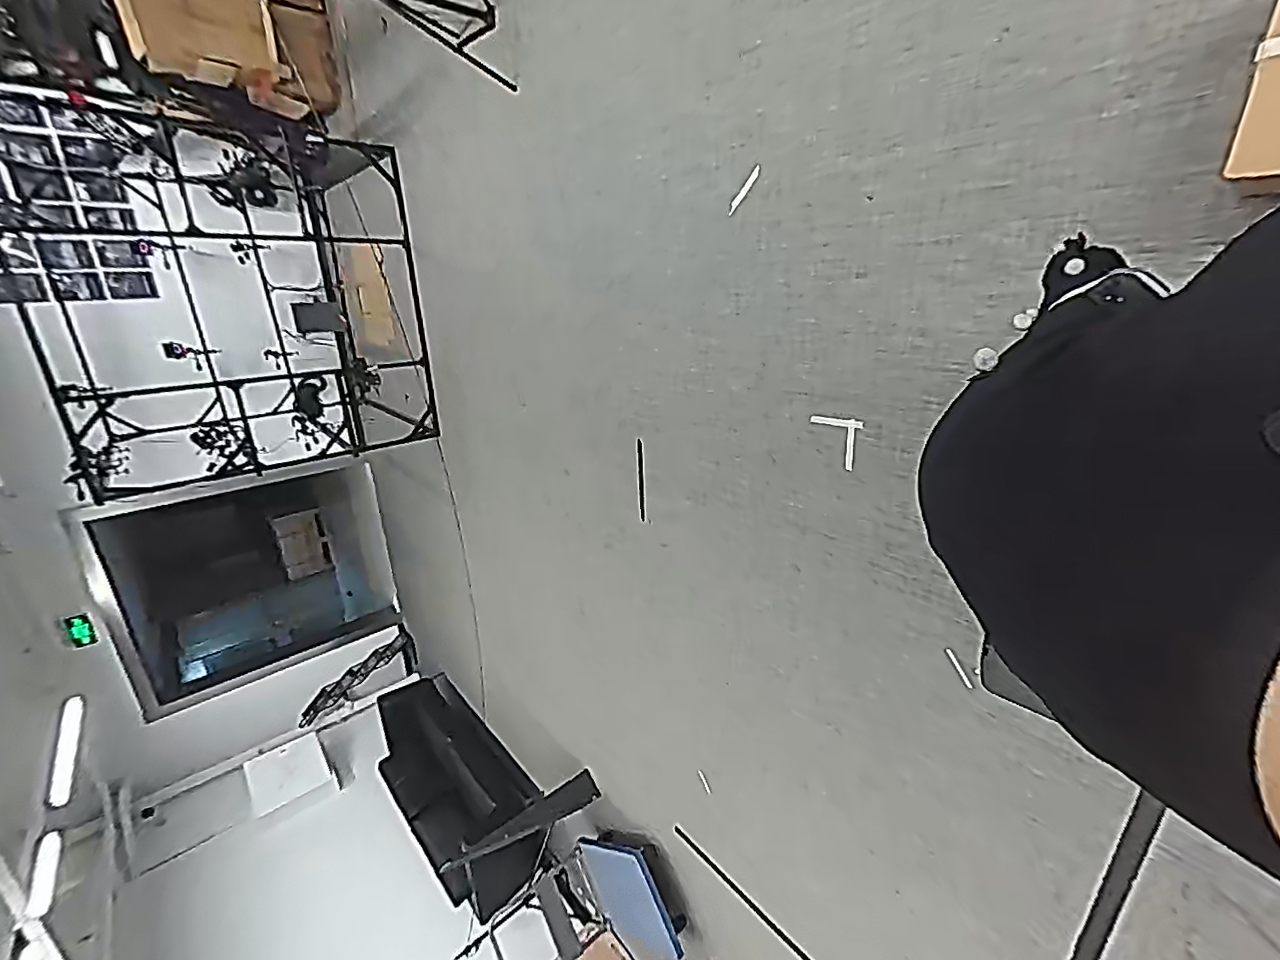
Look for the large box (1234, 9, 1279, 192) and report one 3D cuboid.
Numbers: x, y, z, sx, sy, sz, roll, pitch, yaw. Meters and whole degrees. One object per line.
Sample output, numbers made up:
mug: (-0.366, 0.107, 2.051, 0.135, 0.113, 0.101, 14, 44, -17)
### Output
large box: (1.080, -0.570, 0.674, 0.408, 0.320, 0.320, 20, 120, 44)
